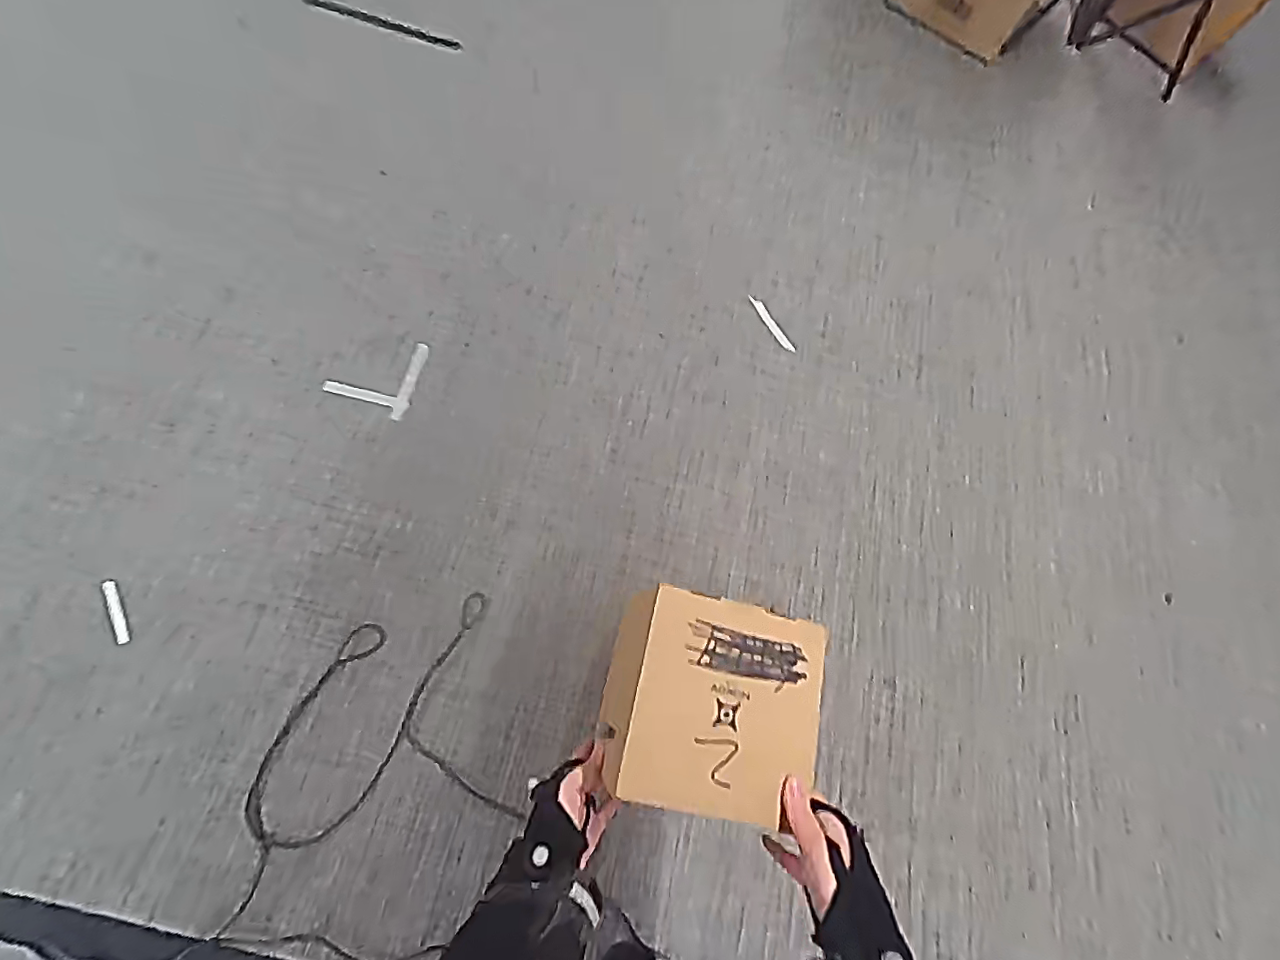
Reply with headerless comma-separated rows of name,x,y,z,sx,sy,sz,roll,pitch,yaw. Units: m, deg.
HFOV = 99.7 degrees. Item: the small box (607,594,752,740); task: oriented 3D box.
small box,0.055,0.304,0.878,0.179,0.176,0.168,21,68,-1
